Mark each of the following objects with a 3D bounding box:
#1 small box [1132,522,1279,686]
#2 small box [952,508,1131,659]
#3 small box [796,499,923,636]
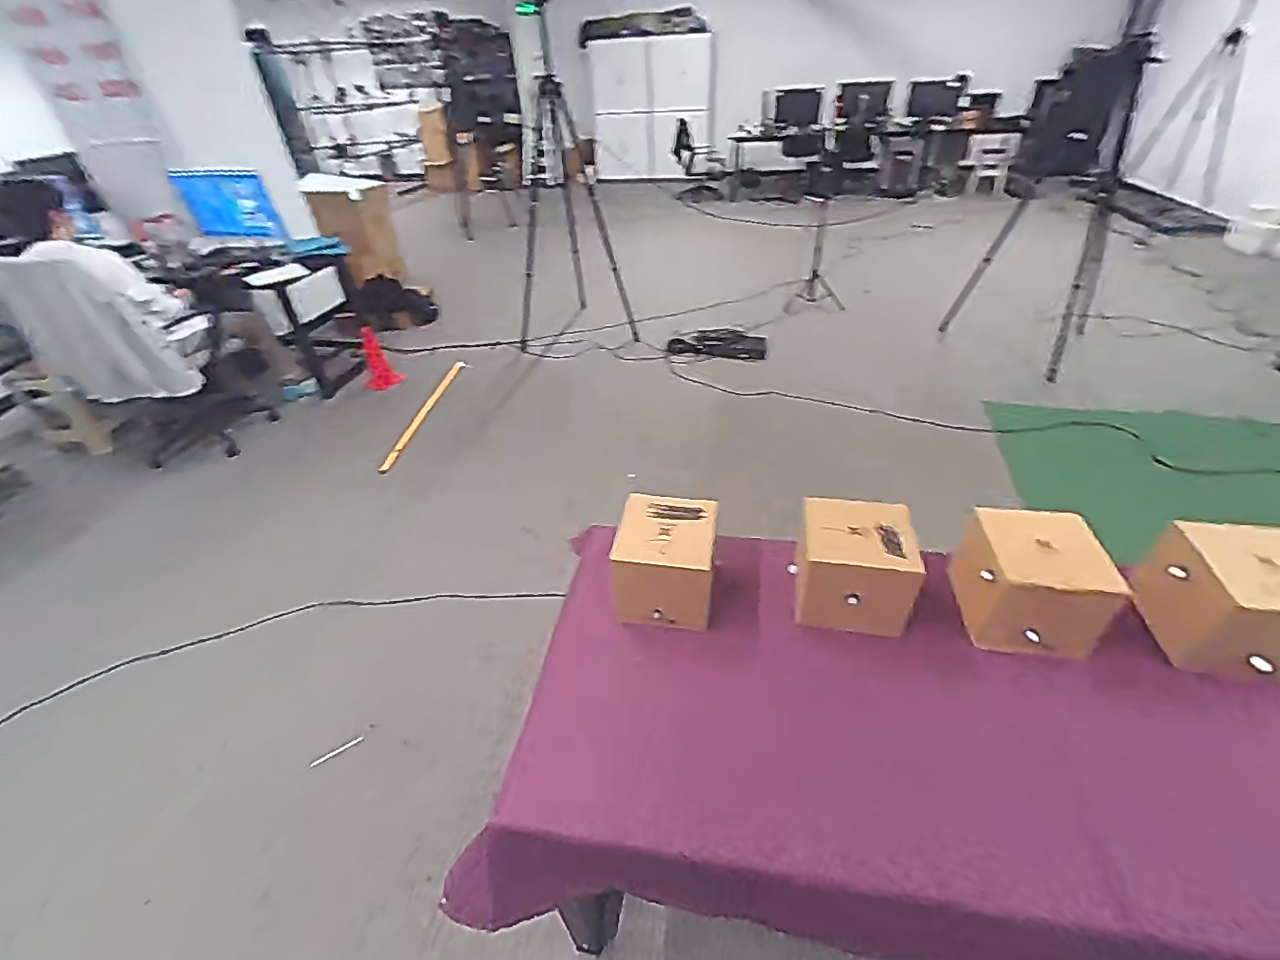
[{"bbox_3d":[0.935,0.191,0.848,0.168,0.176,0.179,4,41,13],"label":"small box"},{"bbox_3d":[0.654,0.172,0.912,0.168,0.176,0.179,4,39,11],"label":"small box"},{"bbox_3d":[0.376,0.155,0.960,0.179,0.176,0.168,4,38,12],"label":"small box"}]
